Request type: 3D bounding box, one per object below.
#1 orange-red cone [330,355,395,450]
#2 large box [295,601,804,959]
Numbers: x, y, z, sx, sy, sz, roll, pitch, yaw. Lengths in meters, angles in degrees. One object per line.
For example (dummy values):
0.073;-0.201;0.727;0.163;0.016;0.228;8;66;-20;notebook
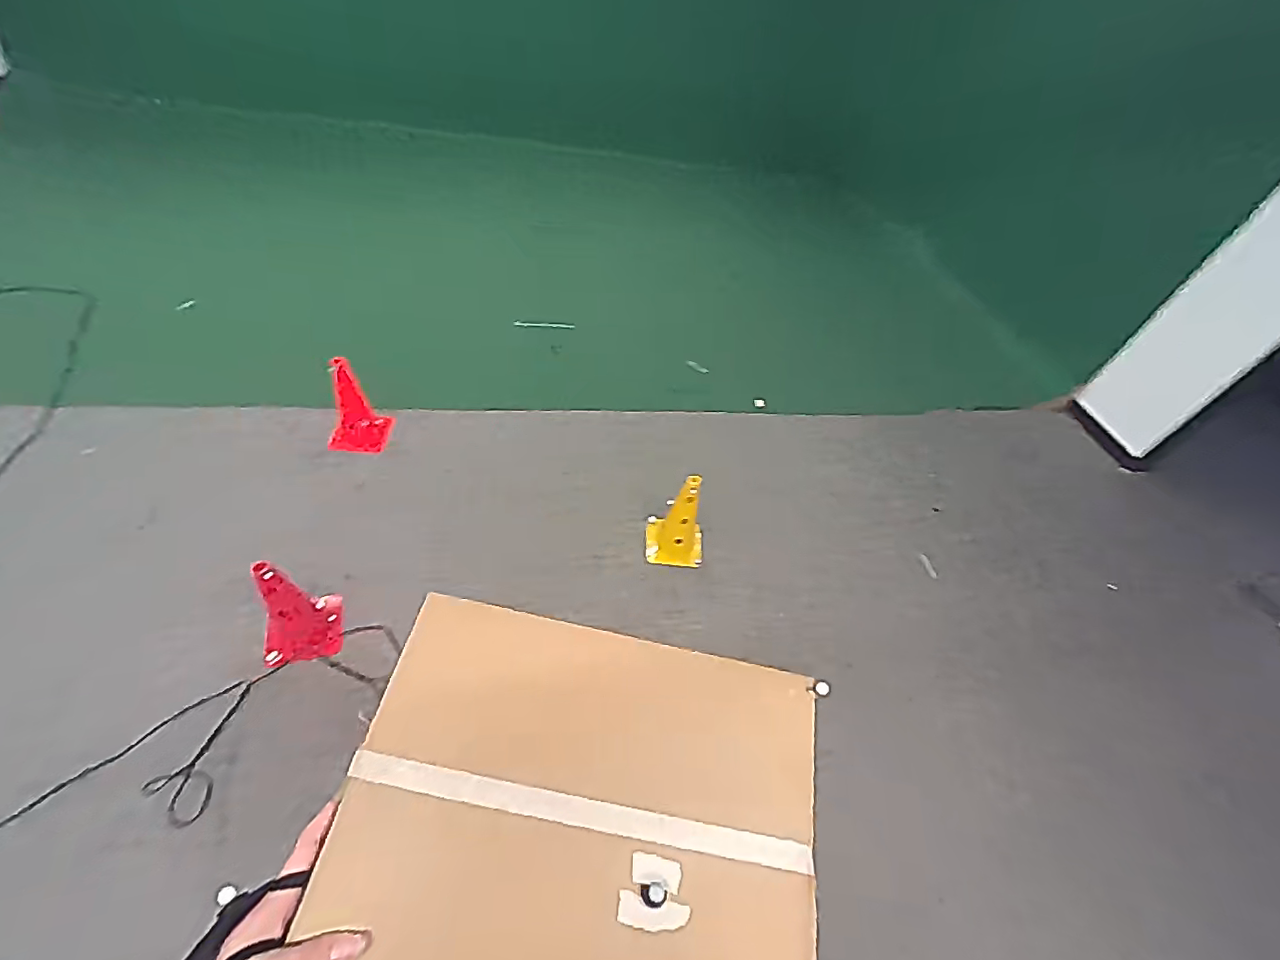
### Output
-1.071;-0.307;2.008;0.199;0.360;0.198;4;48;-6;orange-red cone
-0.069;0.364;0.607;0.408;0.320;0.320;13;59;-2;large box
